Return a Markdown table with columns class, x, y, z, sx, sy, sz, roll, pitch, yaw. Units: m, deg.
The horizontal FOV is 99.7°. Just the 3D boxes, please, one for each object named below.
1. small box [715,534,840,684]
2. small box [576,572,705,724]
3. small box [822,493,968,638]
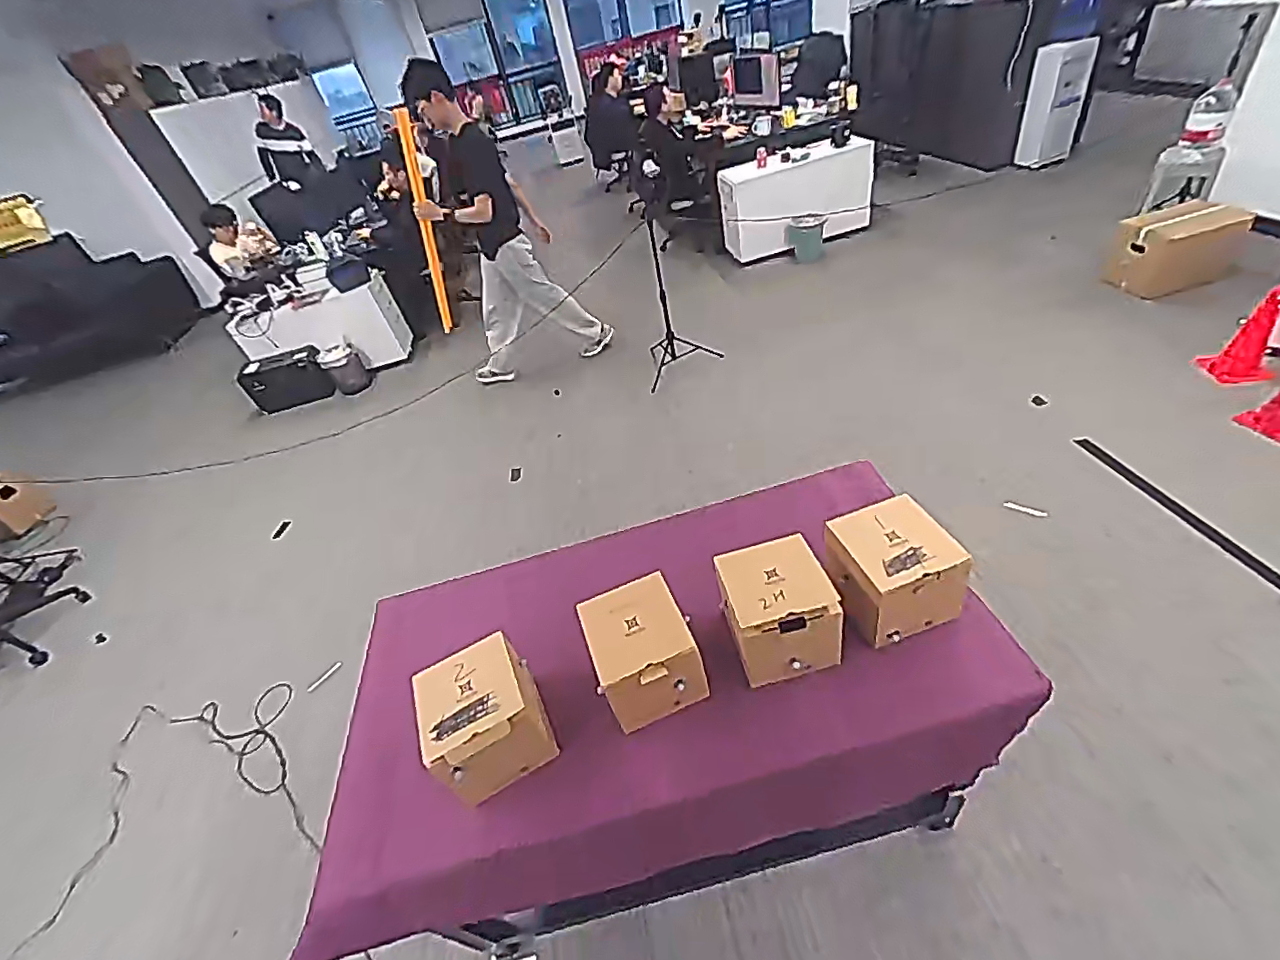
| class | x | y | z | sx | sy | sz | roll | pitch | yaw |
| --- | --- | --- | --- | --- | --- | --- | --- | --- | --- |
| small box | 0.240 | 0.230 | 0.965 | 0.168 | 0.176 | 0.179 | -15 | 40 | 1 |
| small box | 0.004 | 0.304 | 0.962 | 0.168 | 0.176 | 0.179 | -22 | 40 | -7 |
| small box | 0.448 | 0.160 | 0.975 | 0.168 | 0.176 | 0.179 | -20 | 40 | -4 |
